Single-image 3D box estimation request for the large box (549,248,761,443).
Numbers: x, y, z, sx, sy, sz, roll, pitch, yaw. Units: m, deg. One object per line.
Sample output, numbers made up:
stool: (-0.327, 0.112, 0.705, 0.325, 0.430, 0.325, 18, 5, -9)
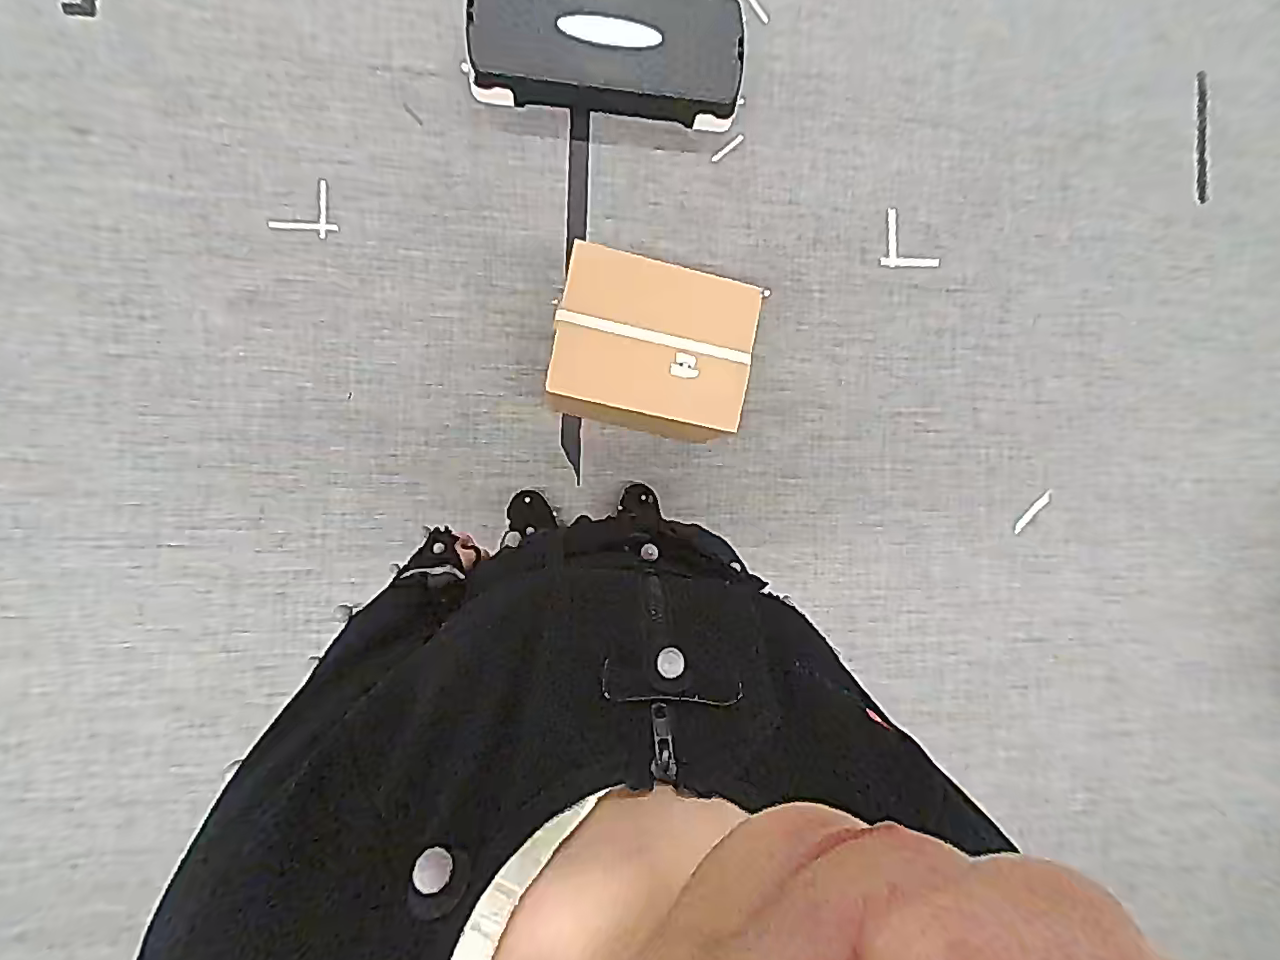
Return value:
large box: (0.013, -0.281, 1.247, 0.408, 0.320, 0.320, 11, 89, -8)
